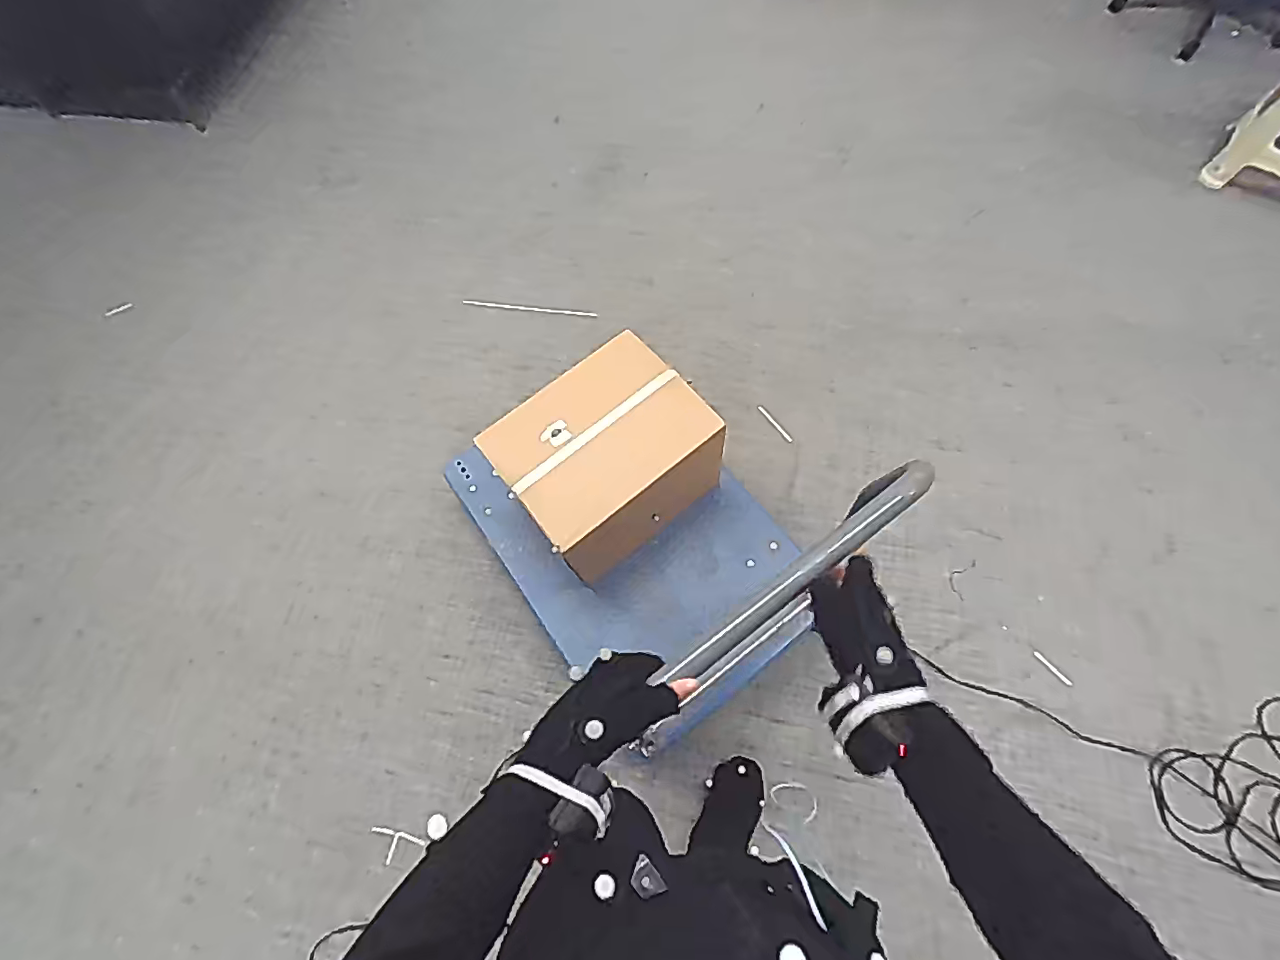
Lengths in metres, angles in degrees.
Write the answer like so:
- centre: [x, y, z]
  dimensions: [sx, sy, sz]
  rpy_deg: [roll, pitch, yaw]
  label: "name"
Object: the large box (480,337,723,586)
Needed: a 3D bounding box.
- centre: [-0.065, -0.028, 1.210]
  dimensions: [0.408, 0.320, 0.320]
  rpy_deg: [-39, 68, -10]
  label: "large box"
